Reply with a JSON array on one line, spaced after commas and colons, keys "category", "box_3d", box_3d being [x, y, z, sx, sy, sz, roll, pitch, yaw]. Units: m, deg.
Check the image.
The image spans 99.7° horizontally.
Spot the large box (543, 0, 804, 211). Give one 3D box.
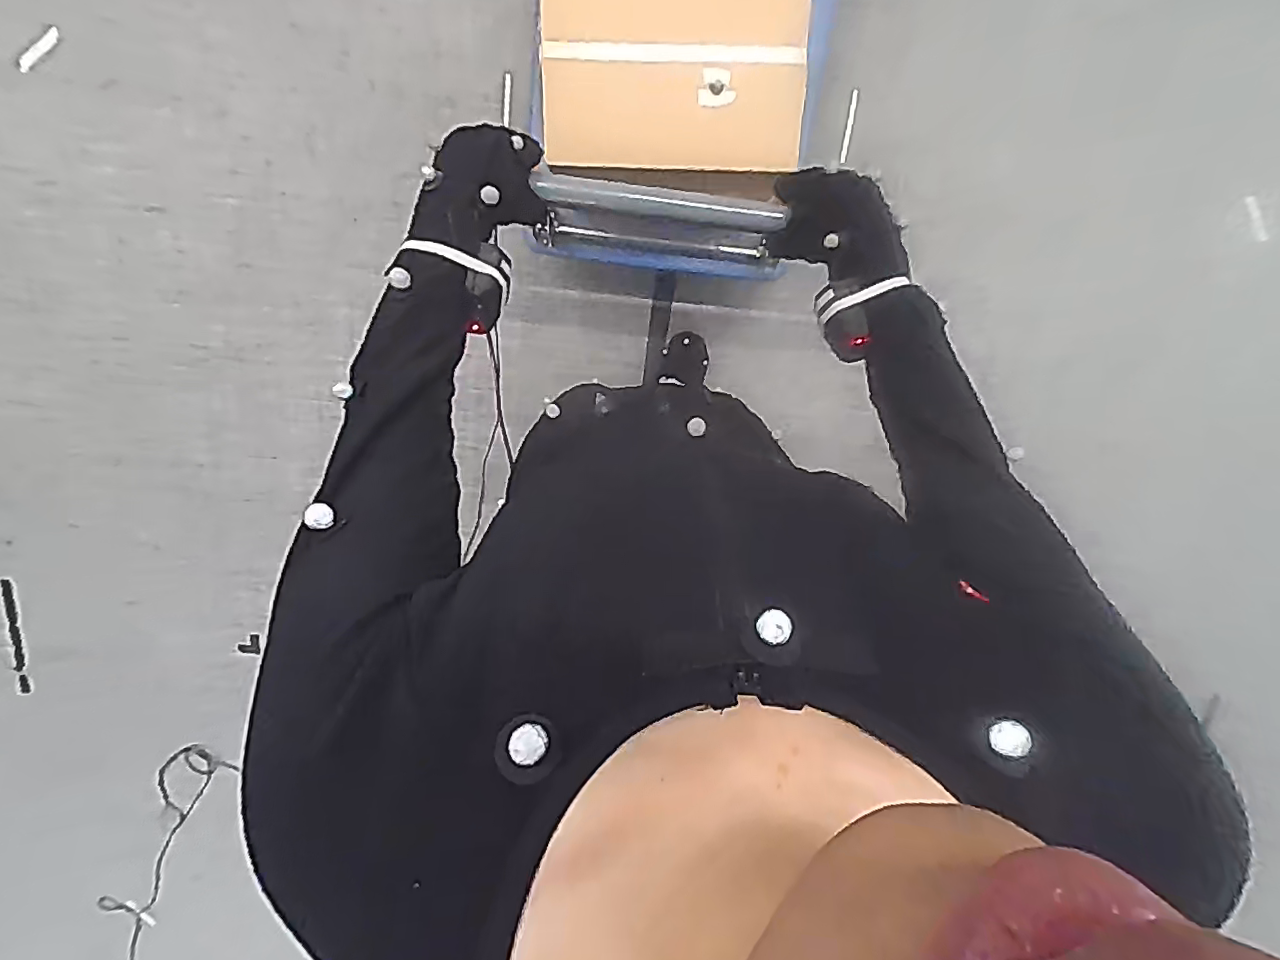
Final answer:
[{"category": "large box", "box_3d": [0.048, -0.692, 0.982, 0.408, 0.320, 0.320, 1, 106, -1]}]
